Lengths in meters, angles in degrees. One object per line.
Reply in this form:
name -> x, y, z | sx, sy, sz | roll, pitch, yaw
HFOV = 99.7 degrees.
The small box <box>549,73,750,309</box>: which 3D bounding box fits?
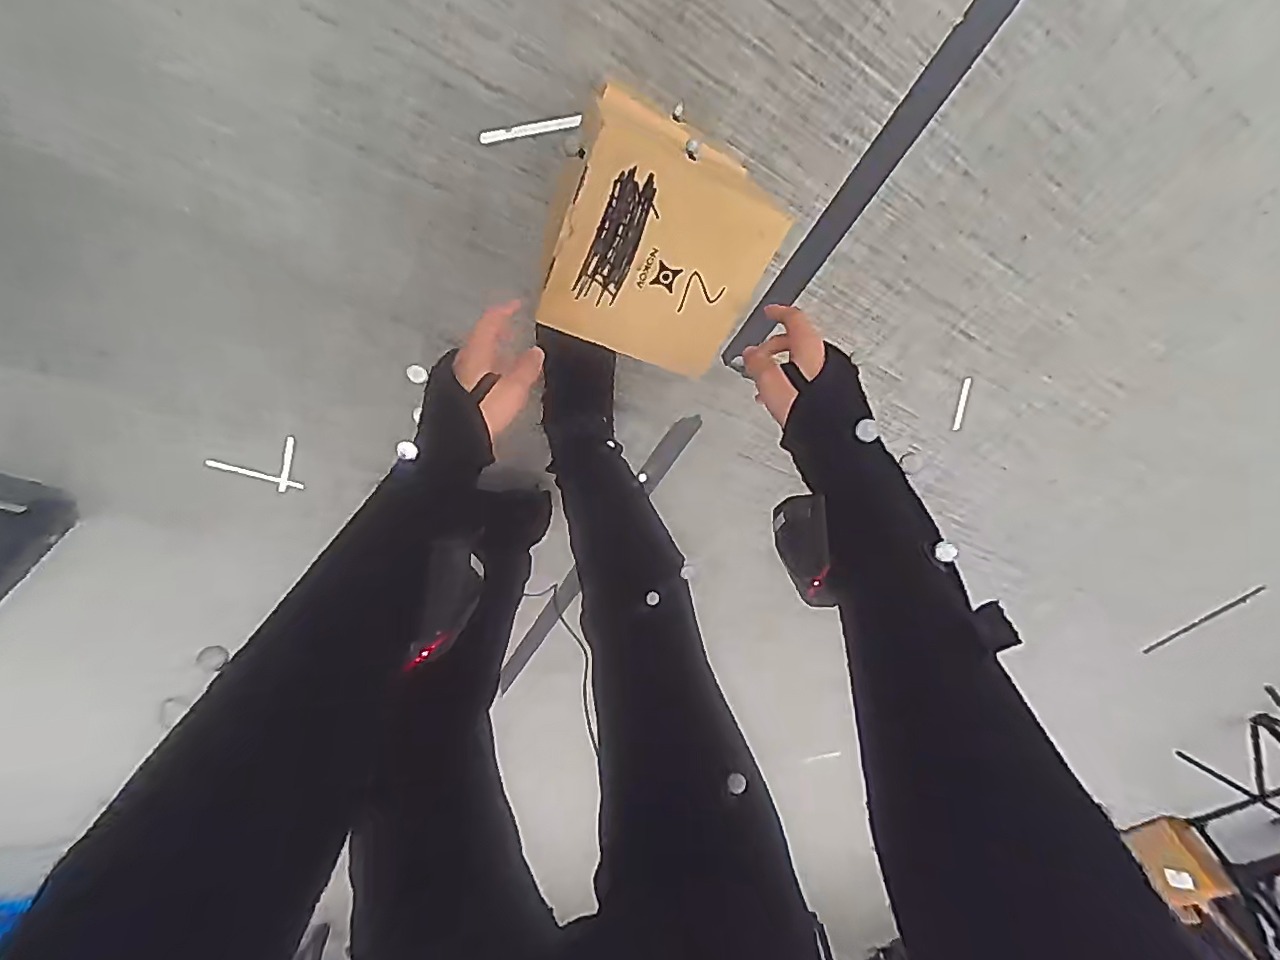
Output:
small box -> -0.001, -0.345, 0.644 | 0.168, 0.176, 0.179 | 19, 127, -21
